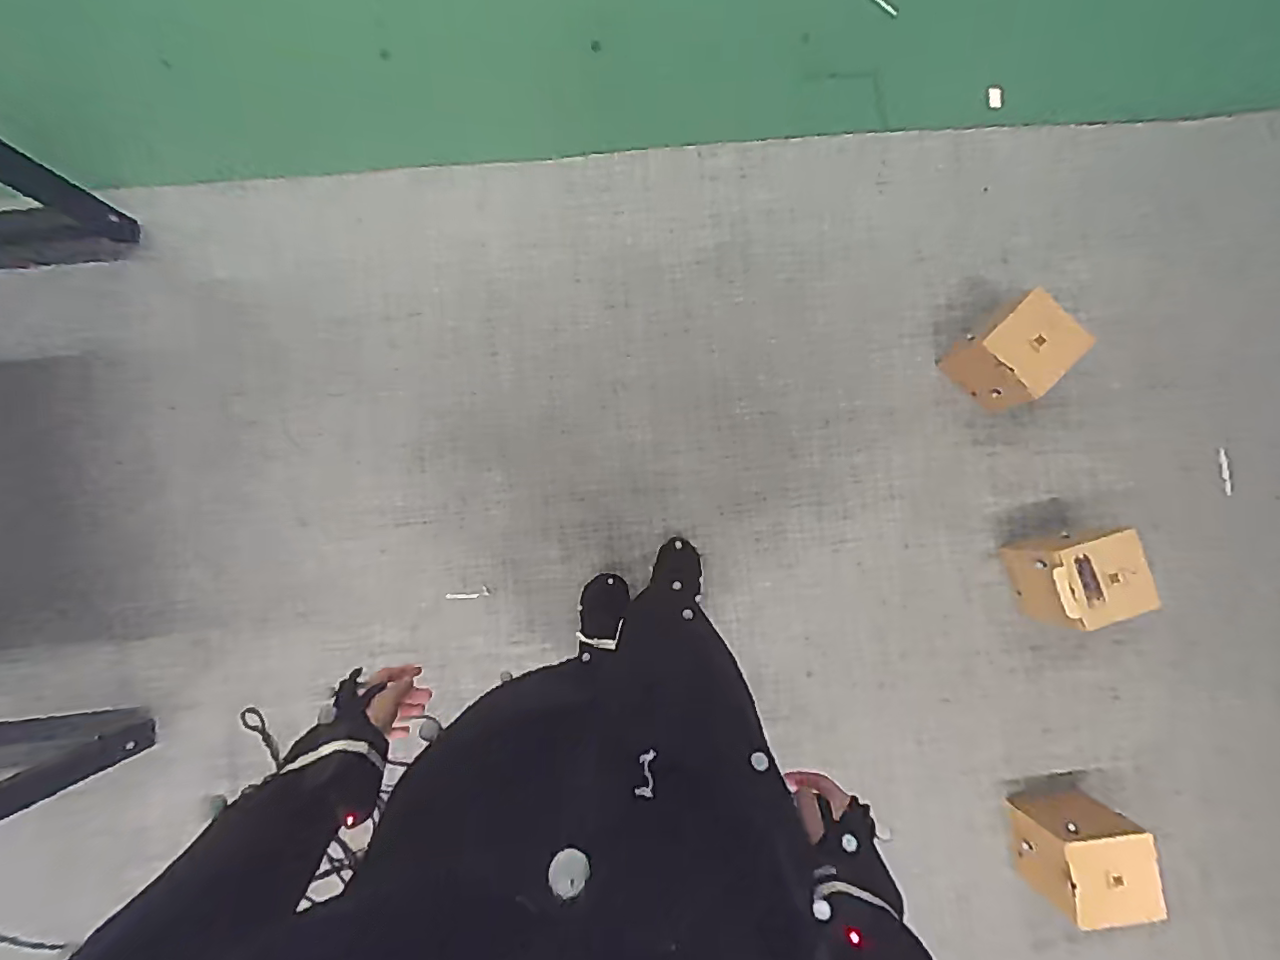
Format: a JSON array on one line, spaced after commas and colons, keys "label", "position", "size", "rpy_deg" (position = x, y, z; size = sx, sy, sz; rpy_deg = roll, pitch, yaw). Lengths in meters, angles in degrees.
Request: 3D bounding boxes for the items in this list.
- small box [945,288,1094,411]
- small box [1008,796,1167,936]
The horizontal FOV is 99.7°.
[{"label": "small box", "position": [0.806, -0.273, 1.176], "size": [0.179, 0.176, 0.168], "rpy_deg": [-45, 89, -5]}, {"label": "small box", "position": [0.902, 0.774, 1.104], "size": [0.179, 0.176, 0.168], "rpy_deg": [-7, 86, -1]}]
